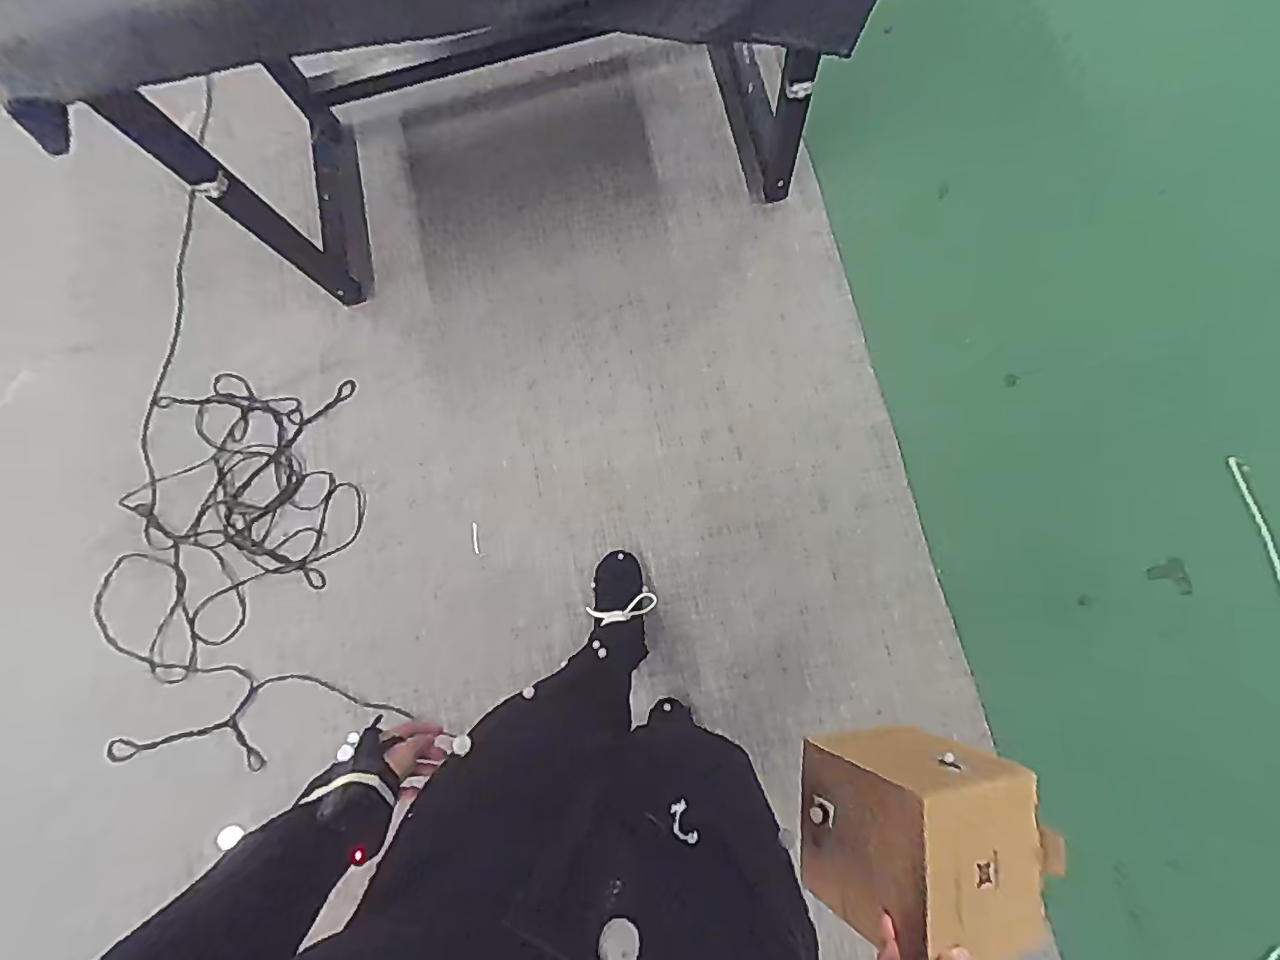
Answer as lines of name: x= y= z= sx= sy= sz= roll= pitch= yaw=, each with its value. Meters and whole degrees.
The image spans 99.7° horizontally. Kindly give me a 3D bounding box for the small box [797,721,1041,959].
small box: x=0.298 y=0.378 z=0.594 sx=0.179 sy=0.176 sz=0.168 roll=6 pitch=82 yaw=-25
